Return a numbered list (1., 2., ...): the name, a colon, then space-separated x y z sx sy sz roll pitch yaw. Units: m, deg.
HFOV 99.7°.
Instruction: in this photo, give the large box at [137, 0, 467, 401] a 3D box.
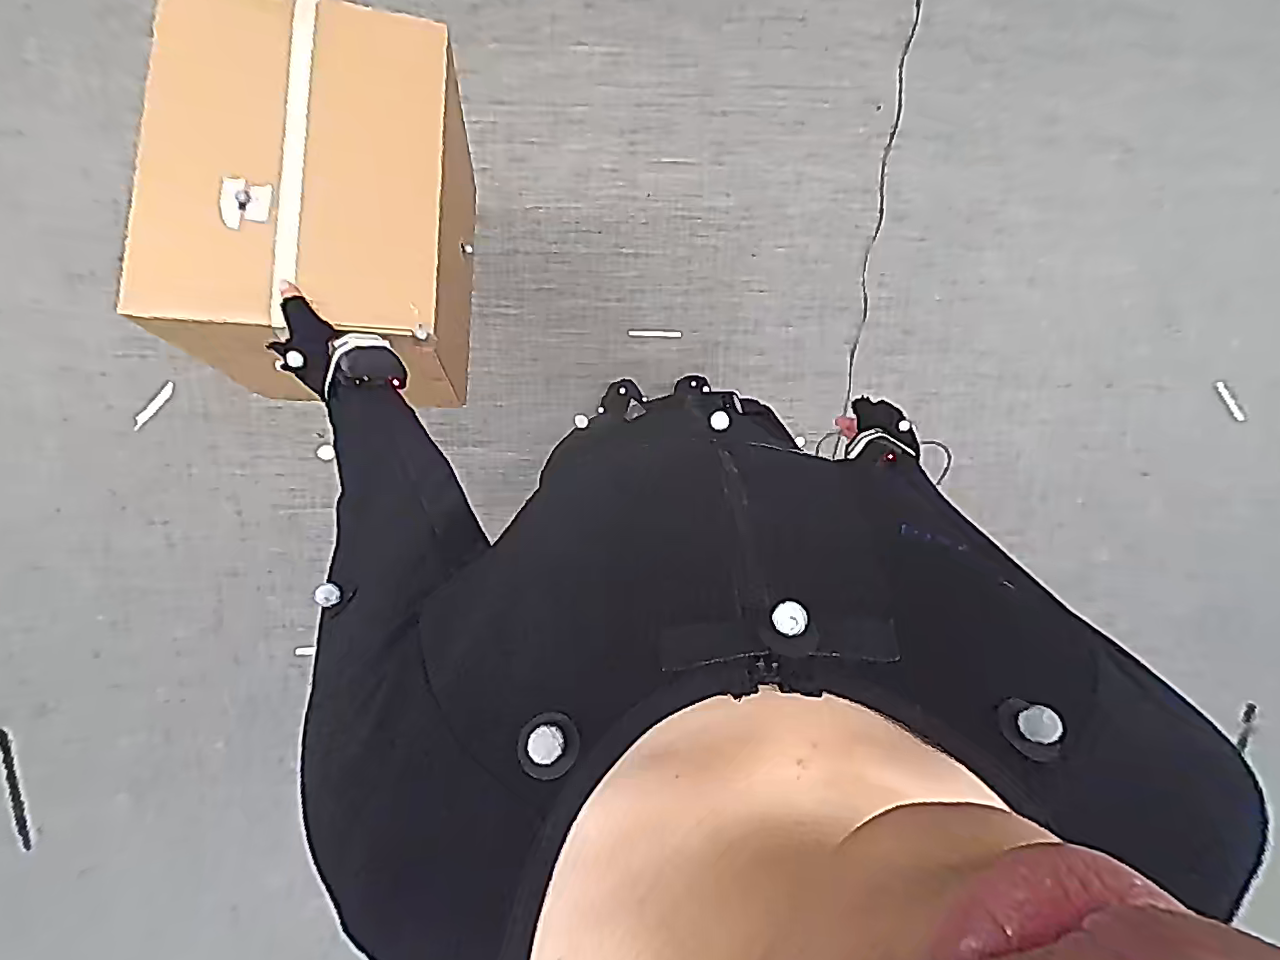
1. large box: -0.424 -0.351 0.775 0.320 0.320 0.408 0 83 -10
